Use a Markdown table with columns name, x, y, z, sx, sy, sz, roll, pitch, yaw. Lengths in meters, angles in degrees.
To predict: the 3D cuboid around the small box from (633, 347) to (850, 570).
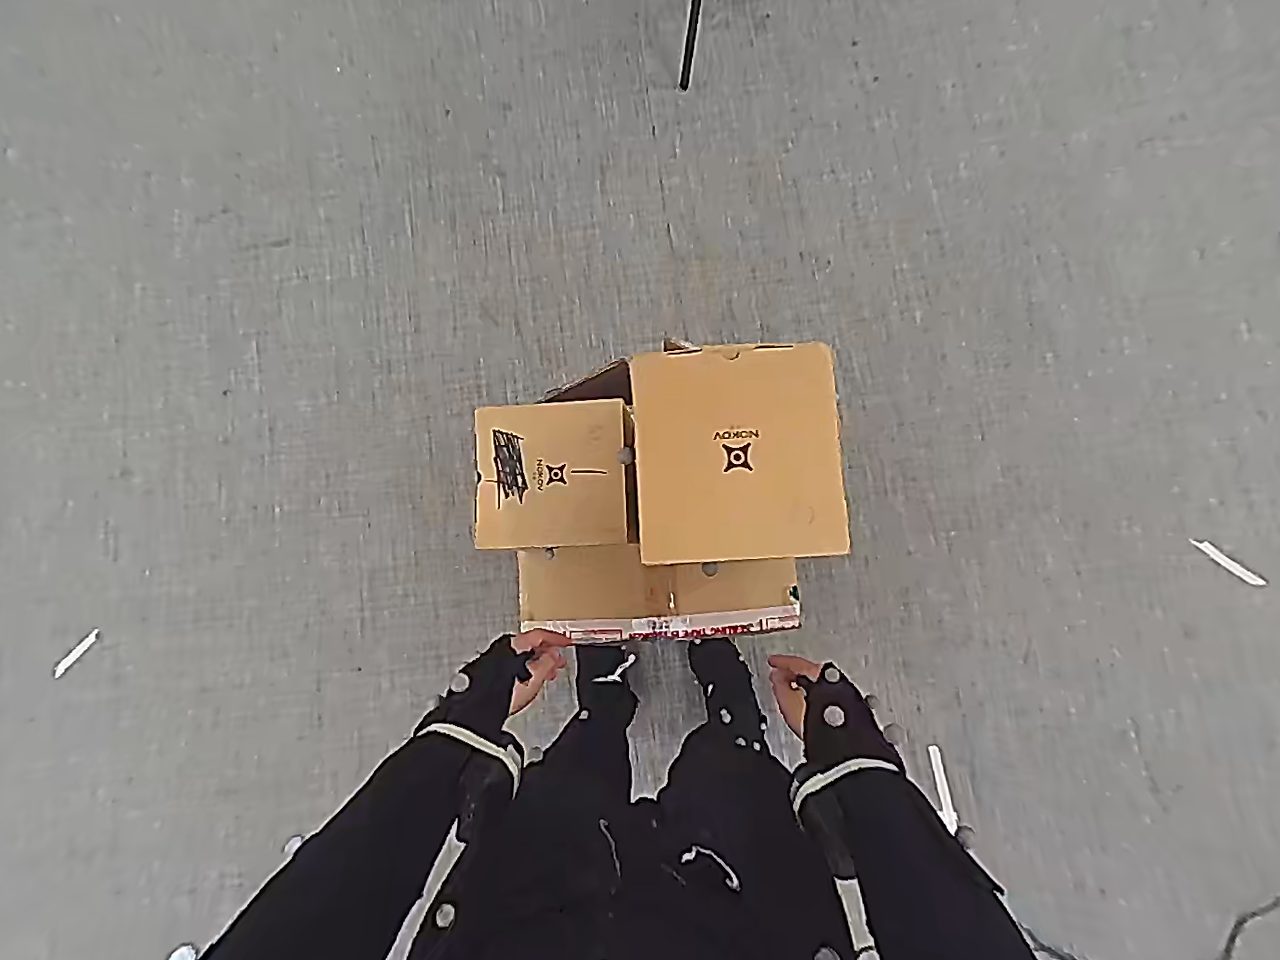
| name | x | y | z | sx | sy | sz | roll | pitch | yaw |
| --- | --- | --- | --- | --- | --- | --- | --- | --- | --- |
| small box | 0.084 | -0.010 | 0.516 | 0.168 | 0.176 | 0.179 | -4 | 82 | 2 |
